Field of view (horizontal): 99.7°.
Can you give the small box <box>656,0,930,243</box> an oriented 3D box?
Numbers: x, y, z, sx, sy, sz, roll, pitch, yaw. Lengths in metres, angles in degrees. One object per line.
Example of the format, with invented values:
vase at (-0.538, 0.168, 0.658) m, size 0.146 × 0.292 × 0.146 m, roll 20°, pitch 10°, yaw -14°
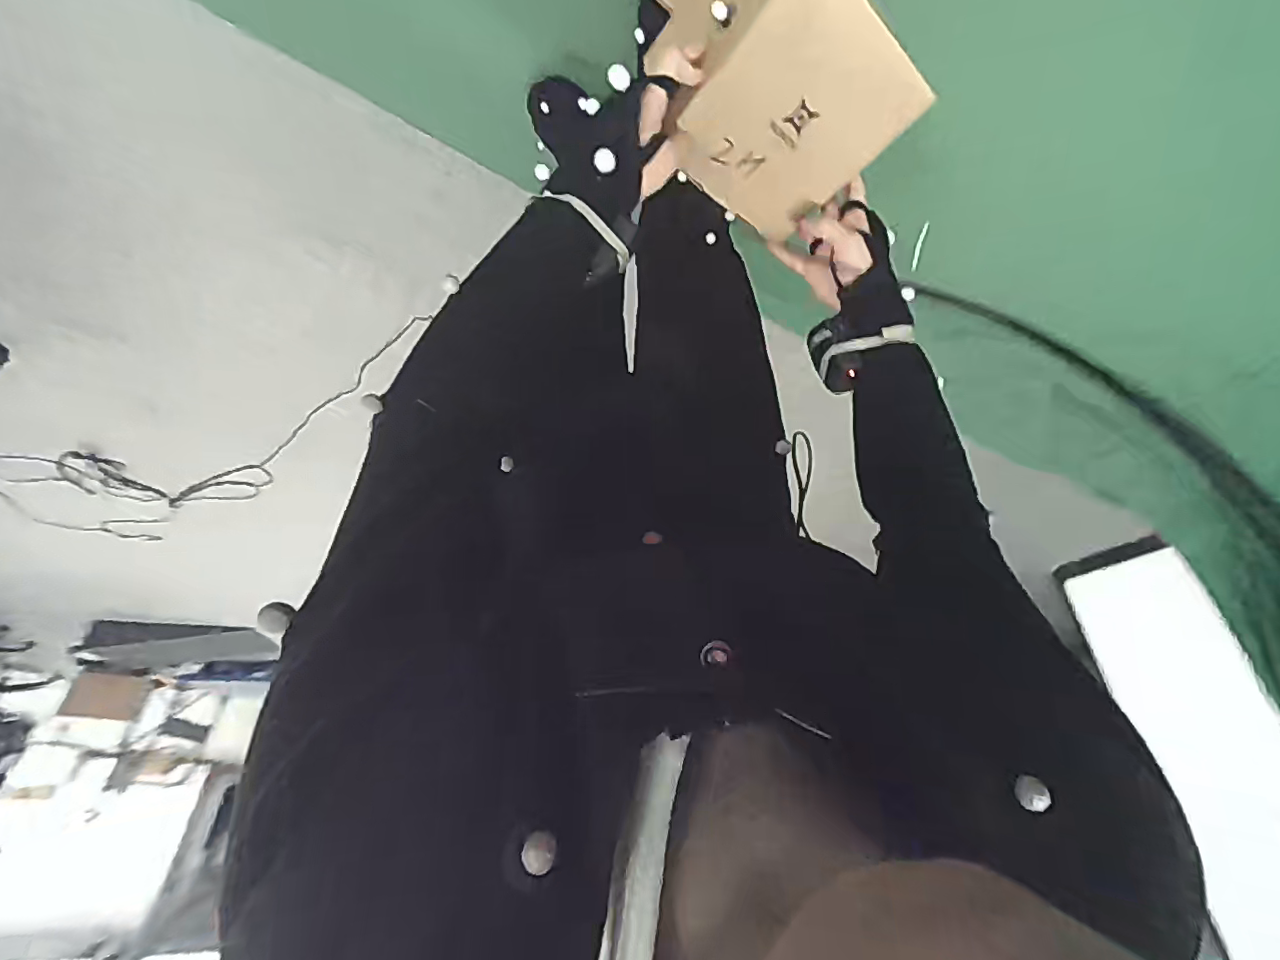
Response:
small box at (0.125, -0.376, 0.507) m, size 0.168 × 0.176 × 0.179 m, roll 19°, pitch 144°, yaw -32°
